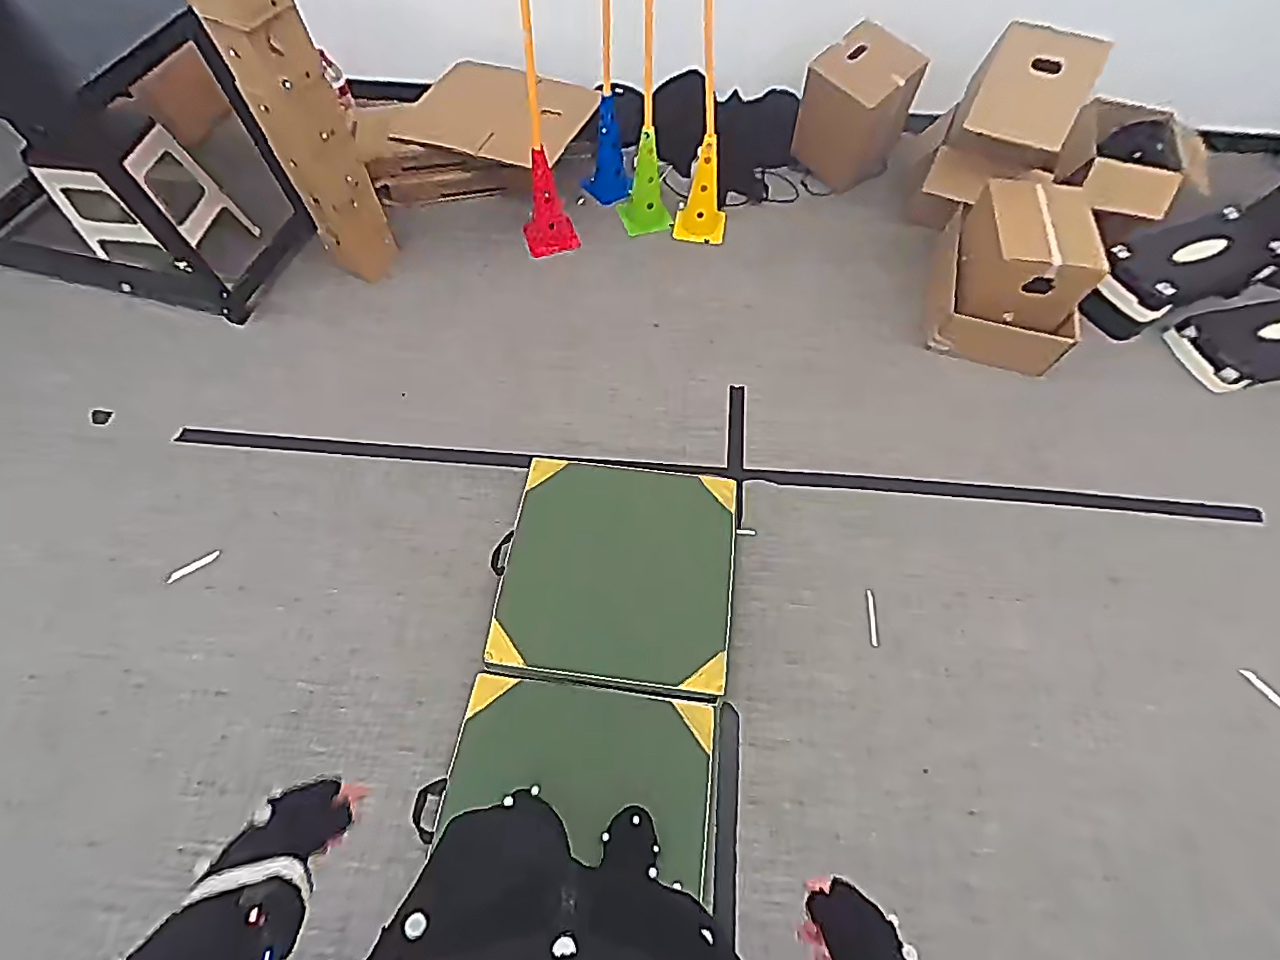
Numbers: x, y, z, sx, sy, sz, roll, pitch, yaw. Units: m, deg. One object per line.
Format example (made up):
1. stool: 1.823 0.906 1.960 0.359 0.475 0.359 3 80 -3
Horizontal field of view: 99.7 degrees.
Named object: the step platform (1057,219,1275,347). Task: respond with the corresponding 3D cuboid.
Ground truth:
1. step platform: 1.944 -0.736 2.004 0.684 0.204 0.286 -20 64 -11
